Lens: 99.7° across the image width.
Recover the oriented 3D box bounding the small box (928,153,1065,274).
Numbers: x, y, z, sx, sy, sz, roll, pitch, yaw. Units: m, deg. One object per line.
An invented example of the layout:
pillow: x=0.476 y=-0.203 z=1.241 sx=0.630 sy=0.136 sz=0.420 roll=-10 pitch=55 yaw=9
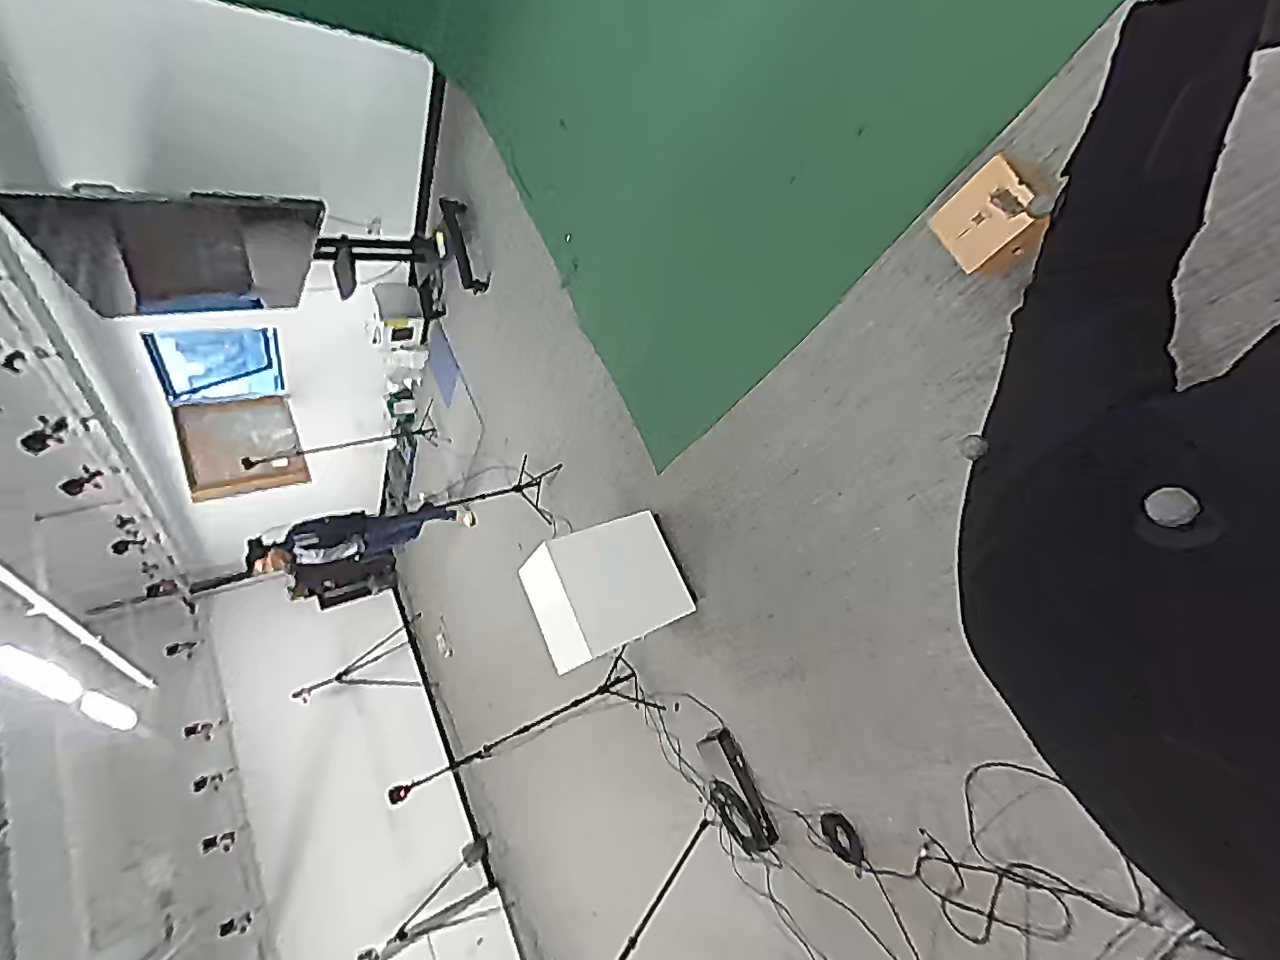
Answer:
small box: x=0.795 y=-0.582 z=1.198 sx=0.179 sy=0.176 sz=0.168 roll=-47 pitch=64 yaw=51
